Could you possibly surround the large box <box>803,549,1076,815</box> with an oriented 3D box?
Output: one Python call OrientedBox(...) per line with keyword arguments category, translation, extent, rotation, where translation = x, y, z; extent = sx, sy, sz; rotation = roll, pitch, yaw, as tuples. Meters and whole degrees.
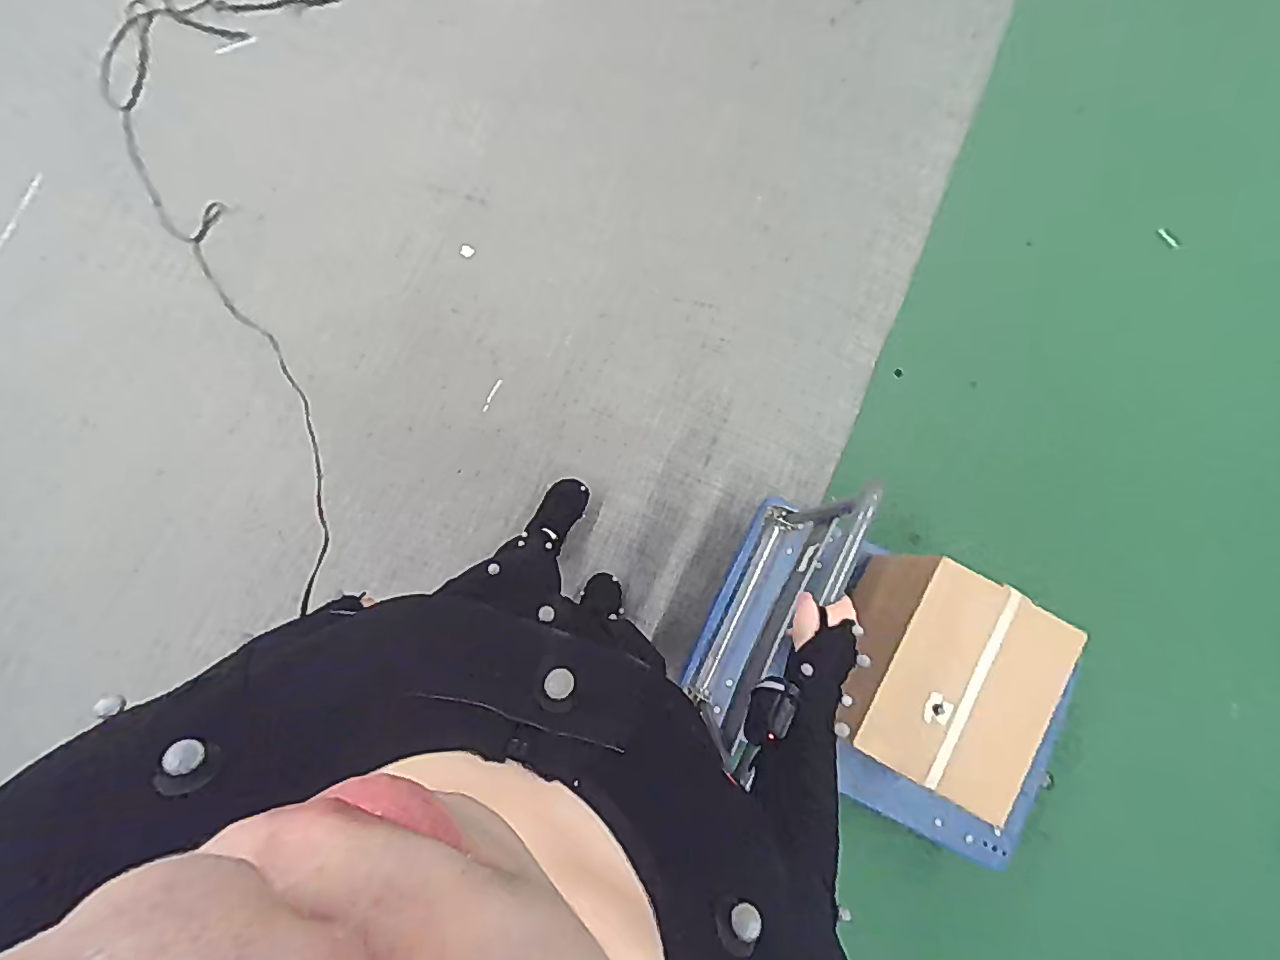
OrientedBox(category="large box", translation=(0.620, 0.397, 1.179), extent=(0.320, 0.320, 0.408), rotation=(29, 84, 3))
